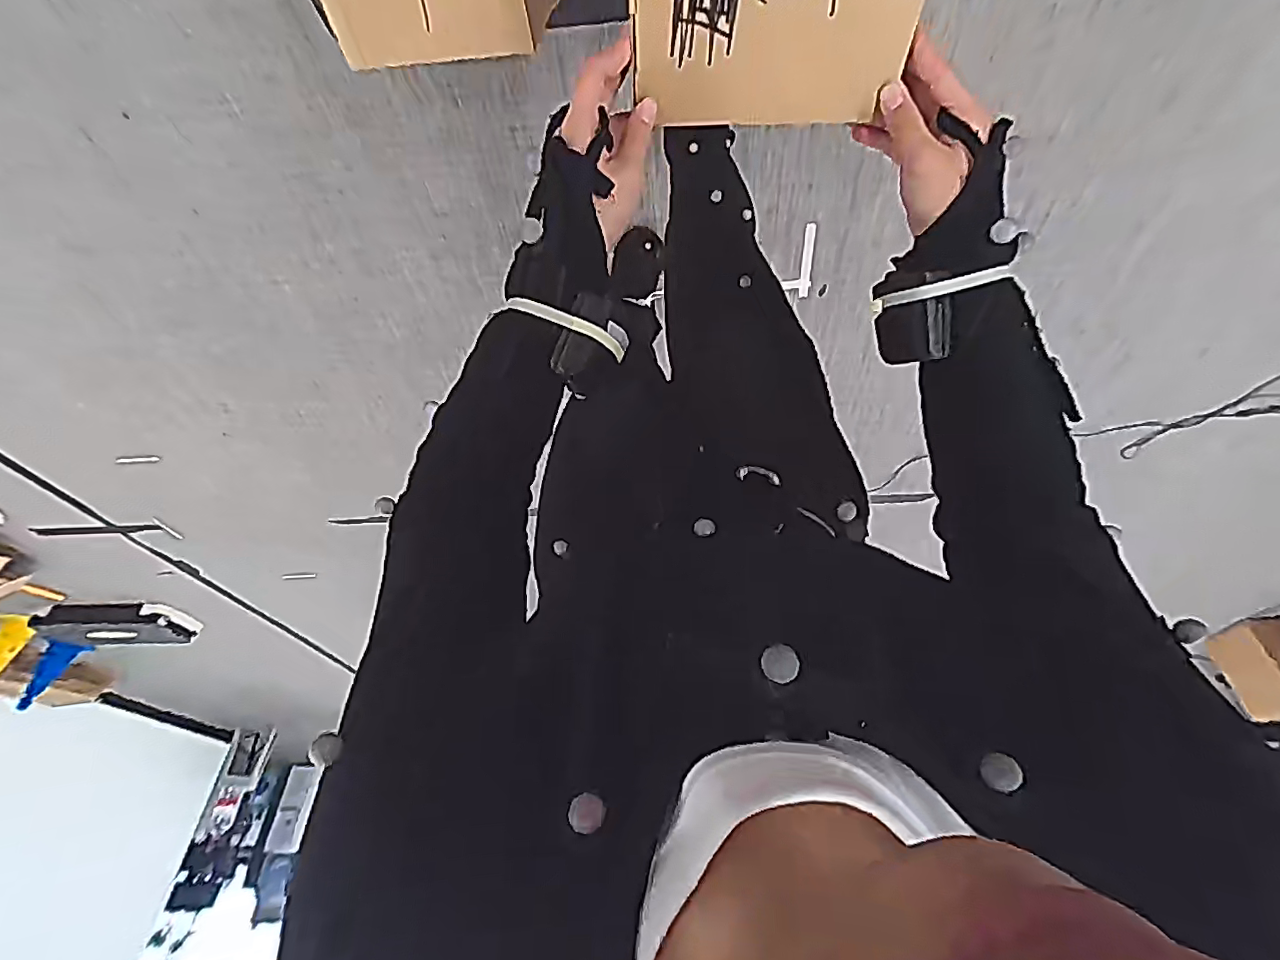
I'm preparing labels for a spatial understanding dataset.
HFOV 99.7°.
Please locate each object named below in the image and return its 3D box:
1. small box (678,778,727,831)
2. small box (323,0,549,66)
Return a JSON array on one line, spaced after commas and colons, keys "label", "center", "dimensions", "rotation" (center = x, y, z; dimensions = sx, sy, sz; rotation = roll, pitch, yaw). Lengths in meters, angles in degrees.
[{"label": "small box", "center": [0.244, 1.286, 2.142], "dimensions": [0.179, 0.176, 0.168], "rotation": [-3, 143, 4]}, {"label": "small box", "center": [-0.175, -0.477, 0.444], "dimensions": [0.168, 0.176, 0.179], "rotation": [-2, 143, 3]}]
